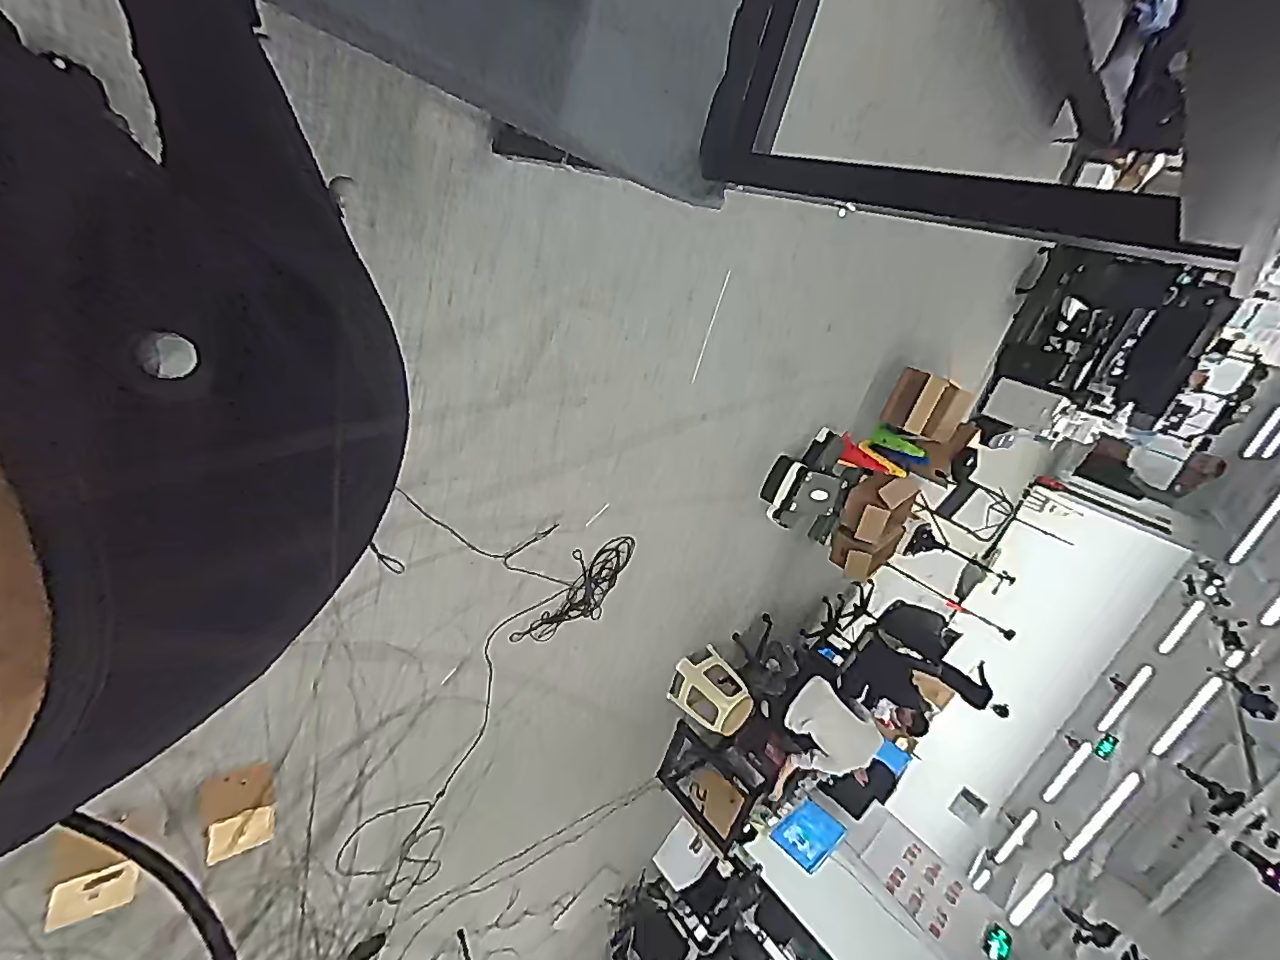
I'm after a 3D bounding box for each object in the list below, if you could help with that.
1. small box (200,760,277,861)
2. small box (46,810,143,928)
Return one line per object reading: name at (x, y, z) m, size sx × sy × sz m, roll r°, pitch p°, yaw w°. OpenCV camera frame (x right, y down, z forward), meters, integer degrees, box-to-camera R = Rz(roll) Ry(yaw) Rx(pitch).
small box at (-1.258, 1.025, 1.689) m, size 0.168 × 0.176 × 0.179 m, roll -2°, pitch 117°, yaw -46°
small box at (-1.477, 1.035, 1.464) m, size 0.168 × 0.176 × 0.179 m, roll 7°, pitch 112°, yaw -48°
